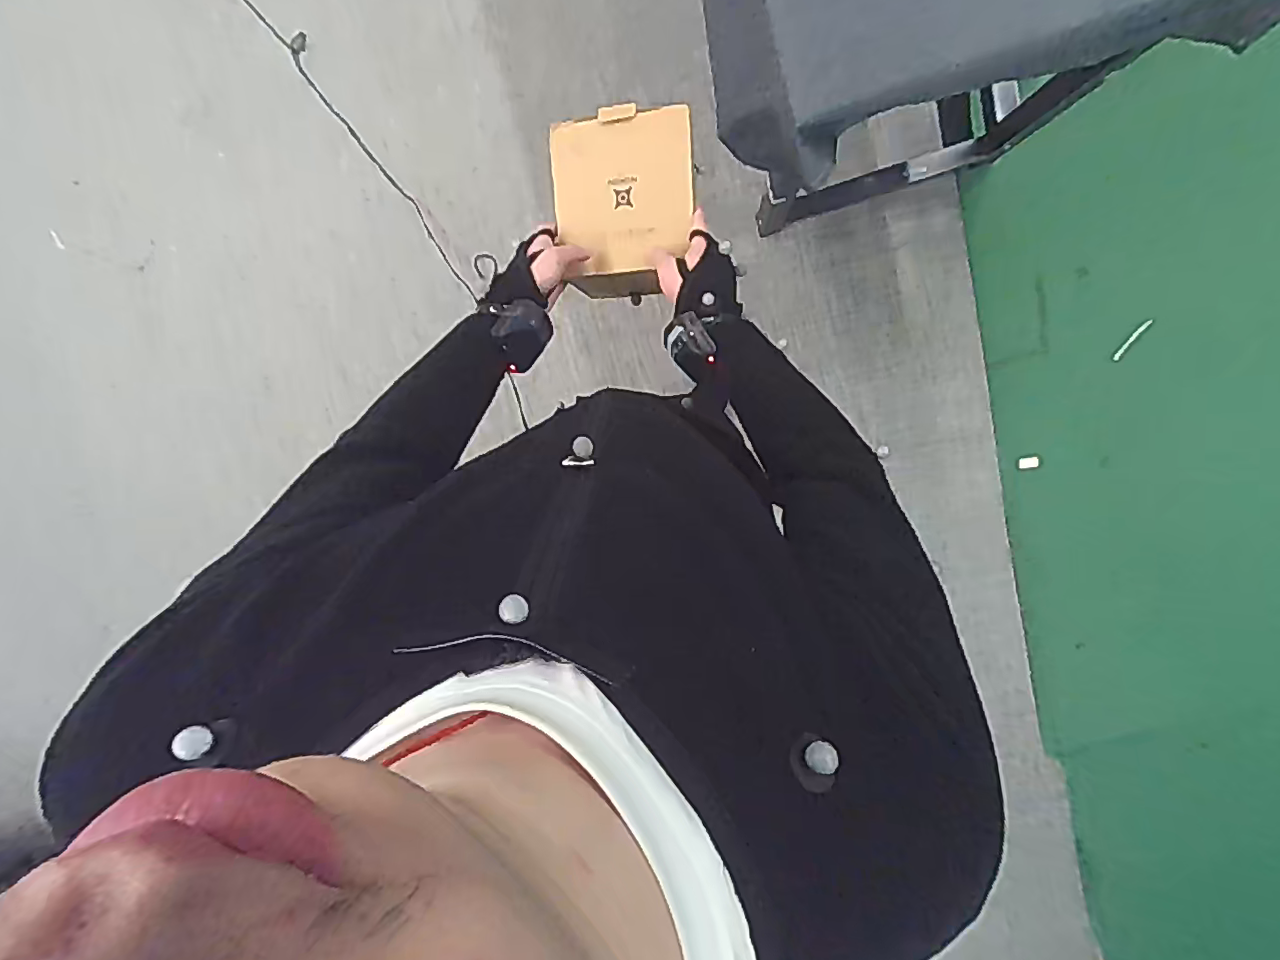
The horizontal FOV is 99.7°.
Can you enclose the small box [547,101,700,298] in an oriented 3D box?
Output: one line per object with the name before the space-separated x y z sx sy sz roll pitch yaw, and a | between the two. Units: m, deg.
small box | -0.012 -0.341 0.692 0.168 0.176 0.179 0 100 10
